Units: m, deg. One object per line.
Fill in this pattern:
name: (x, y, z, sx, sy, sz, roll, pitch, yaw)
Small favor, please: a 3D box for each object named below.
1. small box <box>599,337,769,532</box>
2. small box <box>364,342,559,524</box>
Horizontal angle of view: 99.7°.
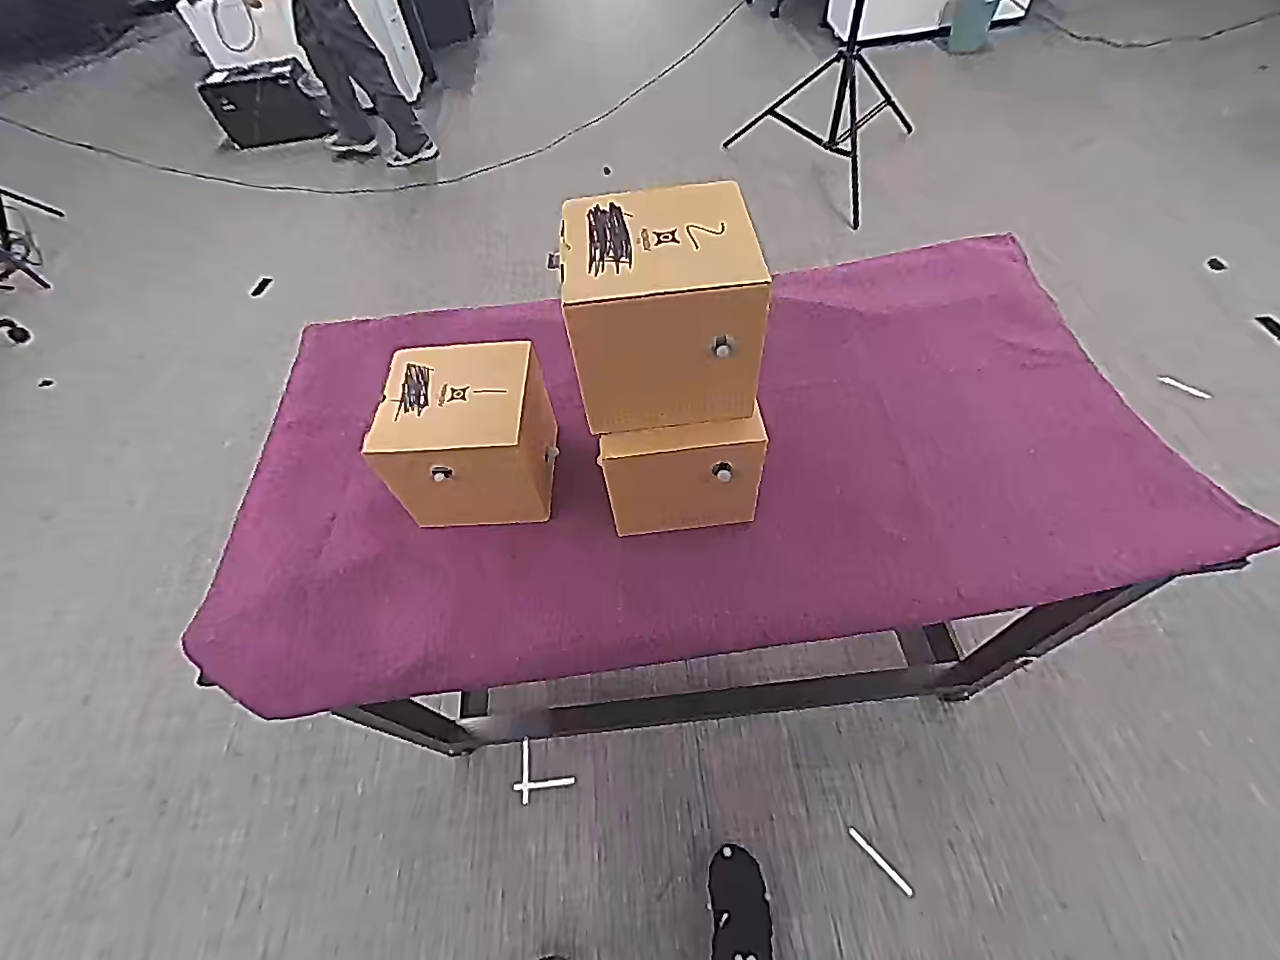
small box: (0.047, -0.051, 0.669, 0.179, 0.176, 0.168, -7, 54, 1)
small box: (-0.211, -0.054, 0.695, 0.179, 0.176, 0.168, -3, 55, 2)
